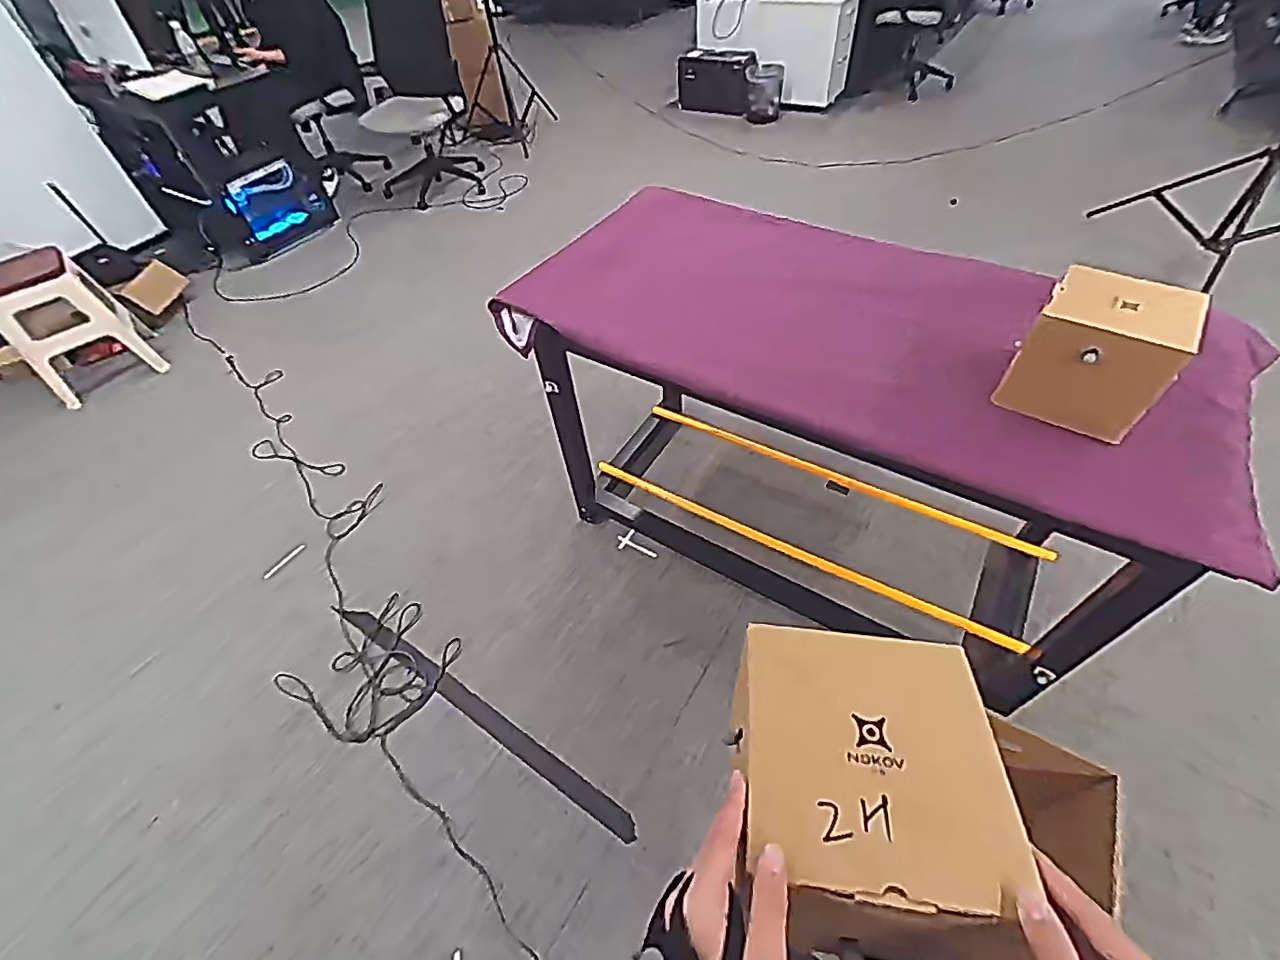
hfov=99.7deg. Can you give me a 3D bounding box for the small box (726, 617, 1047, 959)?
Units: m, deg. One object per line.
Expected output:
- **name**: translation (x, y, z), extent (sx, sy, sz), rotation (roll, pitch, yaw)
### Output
- **small box**: translation (0.156, 0.235, 0.418), extent (0.168, 0.176, 0.179), rotation (4, 41, 8)

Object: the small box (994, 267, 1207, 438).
- **small box**: translation (0.680, -0.188, 0.814), extent (0.179, 0.176, 0.168), rotation (29, 57, 27)
